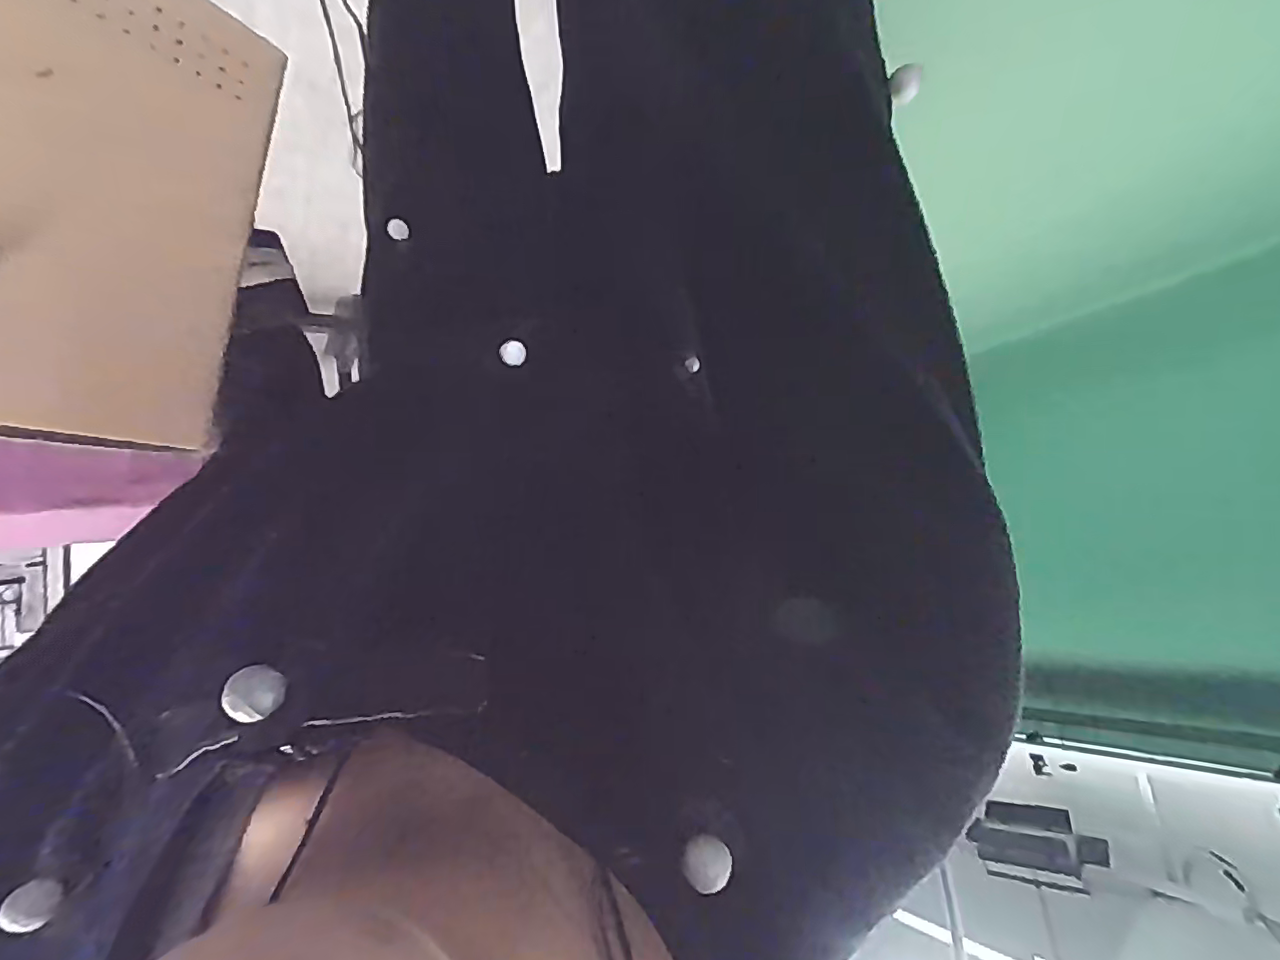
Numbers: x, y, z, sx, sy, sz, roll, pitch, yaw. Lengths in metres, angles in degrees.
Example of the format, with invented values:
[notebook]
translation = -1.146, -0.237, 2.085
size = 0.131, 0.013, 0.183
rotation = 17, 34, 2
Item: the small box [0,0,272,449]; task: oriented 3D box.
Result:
[small box]
translation = -0.263, -0.117, 0.183
size = 0.168, 0.176, 0.179
rotation = 11, 179, 33
